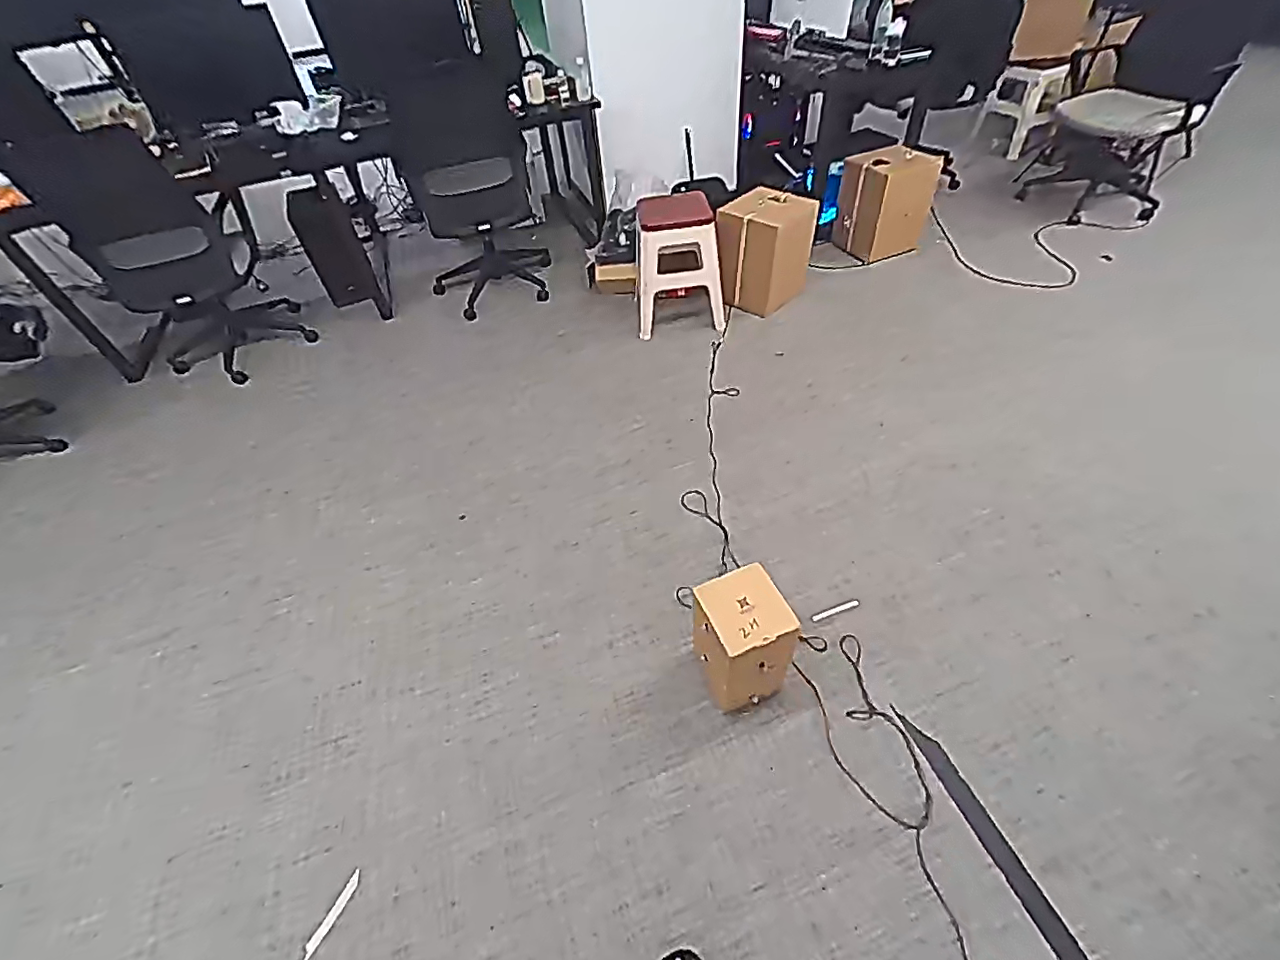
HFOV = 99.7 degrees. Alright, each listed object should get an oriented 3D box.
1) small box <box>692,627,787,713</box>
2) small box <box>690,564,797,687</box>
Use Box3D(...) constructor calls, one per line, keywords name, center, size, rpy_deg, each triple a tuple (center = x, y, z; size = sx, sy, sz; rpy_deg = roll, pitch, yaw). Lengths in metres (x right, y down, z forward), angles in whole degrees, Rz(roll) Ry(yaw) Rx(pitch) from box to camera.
Box3D(name="small box", center=(0.232, 0.432, 1.314), size=(0.168, 0.176, 0.179), rpy_deg=(-19, 49, -10))
Box3D(name="small box", center=(0.219, 0.322, 1.192), size=(0.168, 0.176, 0.179), rpy_deg=(-20, 49, -11))
